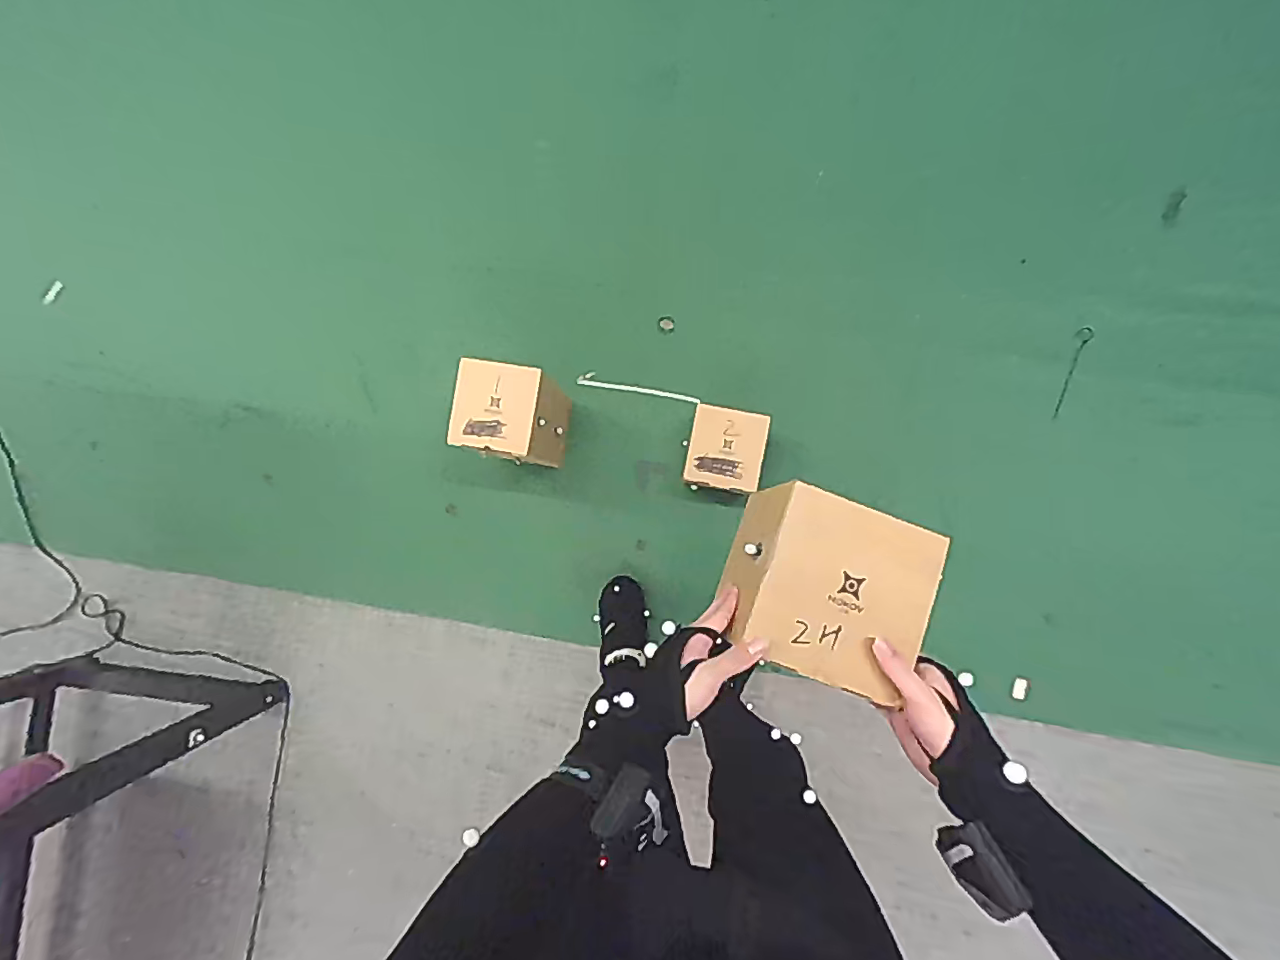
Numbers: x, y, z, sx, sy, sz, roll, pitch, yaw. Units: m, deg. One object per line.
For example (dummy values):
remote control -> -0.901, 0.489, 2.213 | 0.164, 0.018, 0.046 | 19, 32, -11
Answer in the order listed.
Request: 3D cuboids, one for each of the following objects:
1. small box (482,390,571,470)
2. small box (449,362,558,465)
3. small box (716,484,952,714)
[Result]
small box -> -0.268, -0.124, 1.298 | 0.168, 0.176, 0.179 | 9, 89, 3
small box -> -0.277, -0.131, 1.134 | 0.168, 0.176, 0.179 | 9, 88, 3
small box -> 0.197, 0.121, 0.596 | 0.168, 0.176, 0.179 | 21, 83, -1
